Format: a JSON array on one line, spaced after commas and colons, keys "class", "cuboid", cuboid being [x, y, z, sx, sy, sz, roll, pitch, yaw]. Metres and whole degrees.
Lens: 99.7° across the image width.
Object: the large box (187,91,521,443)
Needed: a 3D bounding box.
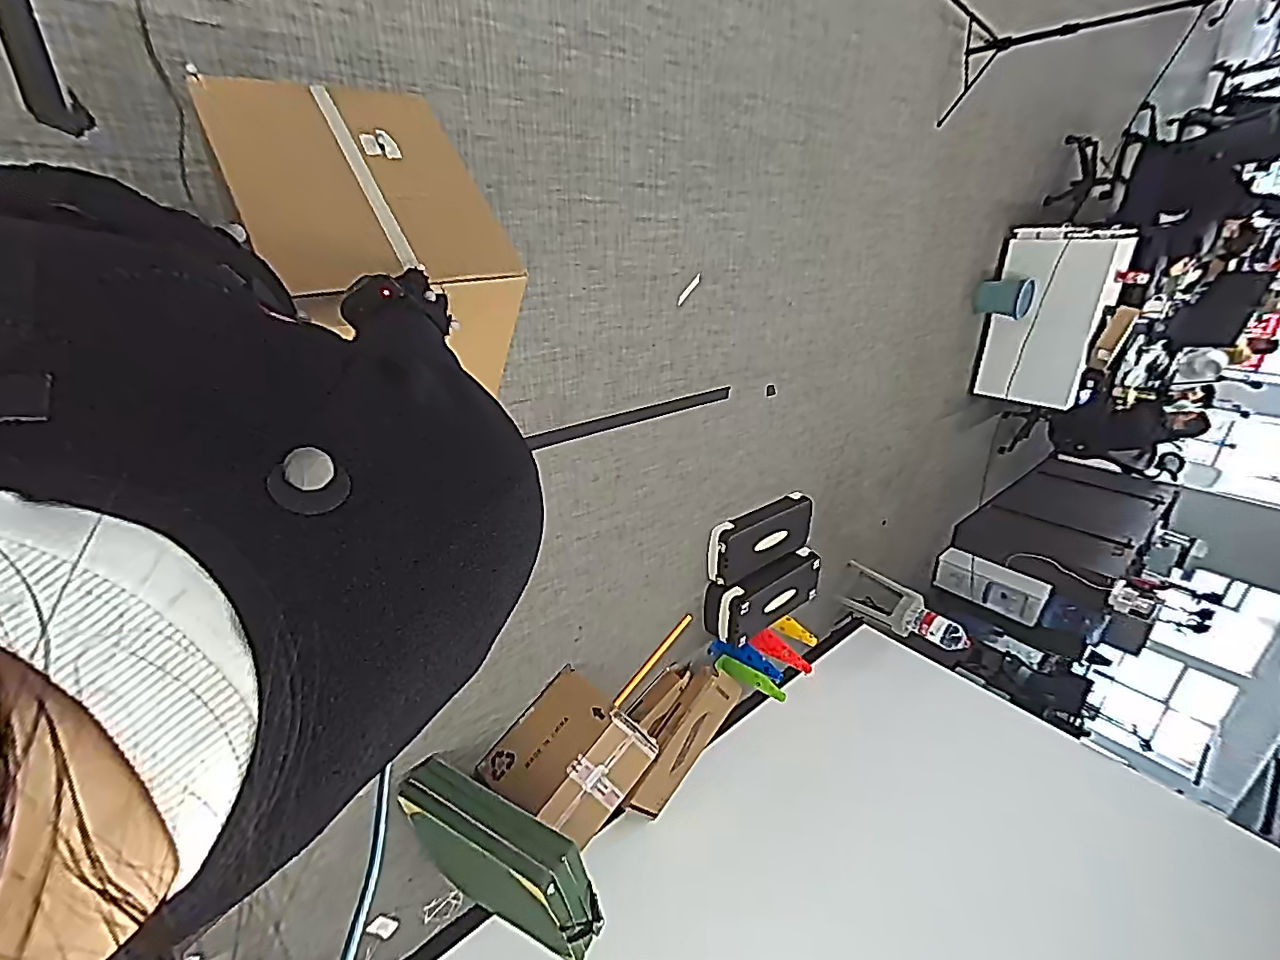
[{"class": "large box", "cuboid": [-0.442, -0.332, 0.871, 0.320, 0.408, 0.320, -21, 160, -34]}]
